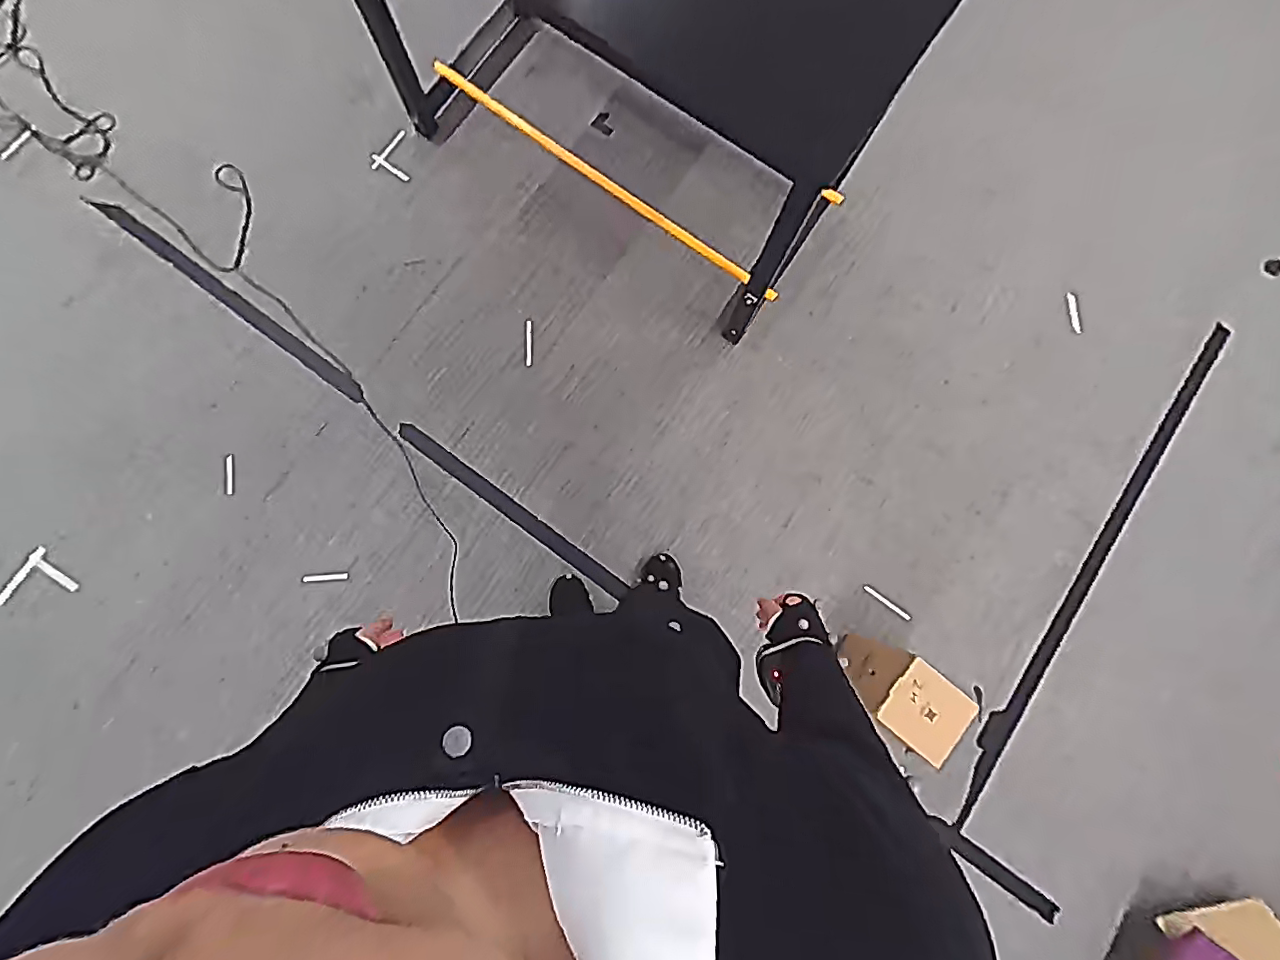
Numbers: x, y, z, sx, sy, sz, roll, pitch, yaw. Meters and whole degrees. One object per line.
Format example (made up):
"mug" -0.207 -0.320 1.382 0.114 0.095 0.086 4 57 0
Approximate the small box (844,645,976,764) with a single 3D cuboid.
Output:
"small box" 0.614 0.507 1.253 0.179 0.176 0.168 40 82 3

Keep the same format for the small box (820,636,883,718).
"small box" 0.606 0.526 1.418 0.179 0.176 0.168 34 82 3
